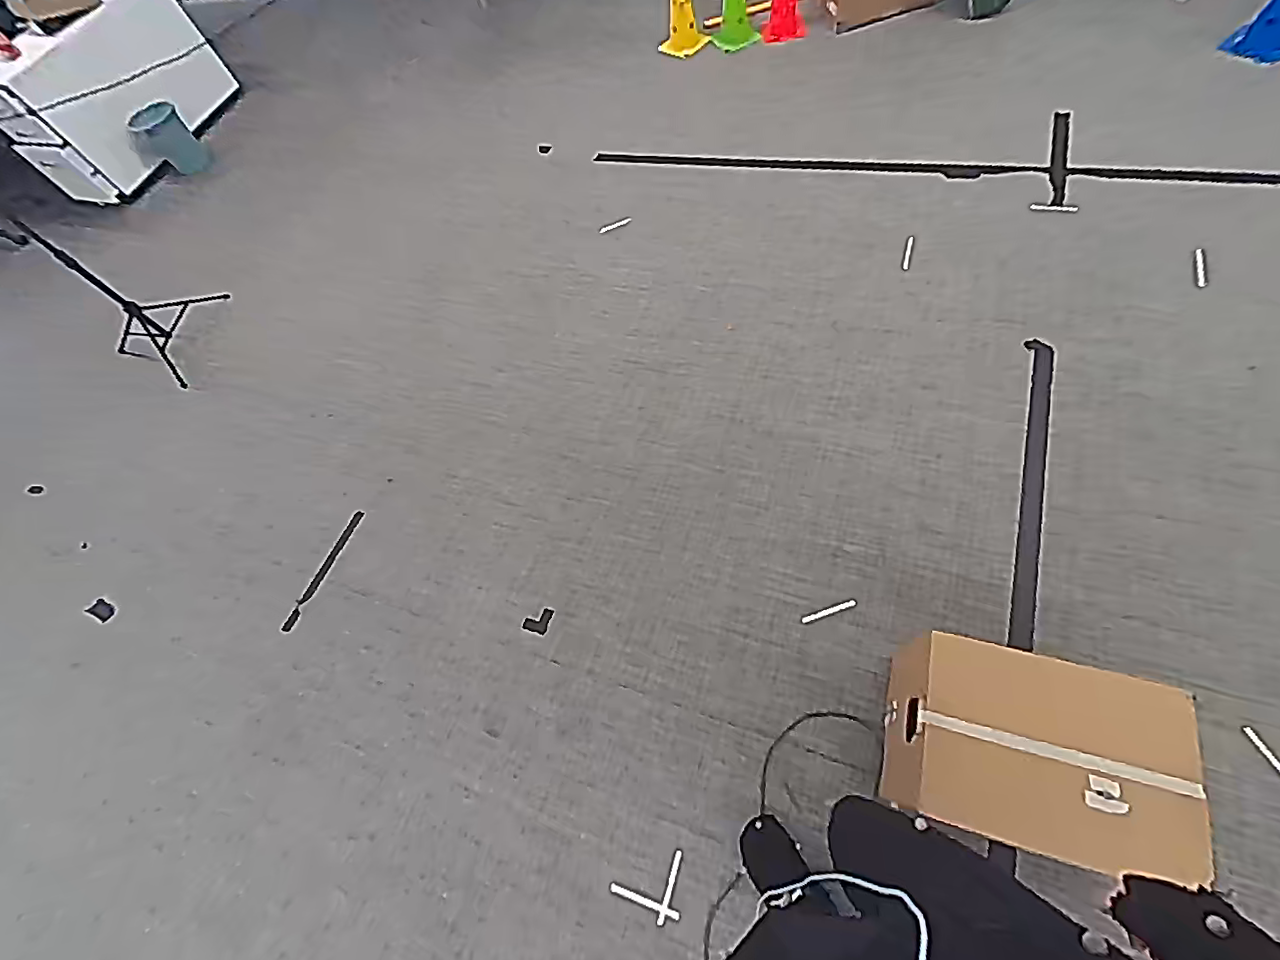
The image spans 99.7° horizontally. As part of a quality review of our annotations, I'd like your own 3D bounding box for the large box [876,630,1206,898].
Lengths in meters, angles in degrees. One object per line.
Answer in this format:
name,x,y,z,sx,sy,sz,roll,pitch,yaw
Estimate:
large box,0.704,0.512,1.031,0.408,0.320,0.320,11,67,15
